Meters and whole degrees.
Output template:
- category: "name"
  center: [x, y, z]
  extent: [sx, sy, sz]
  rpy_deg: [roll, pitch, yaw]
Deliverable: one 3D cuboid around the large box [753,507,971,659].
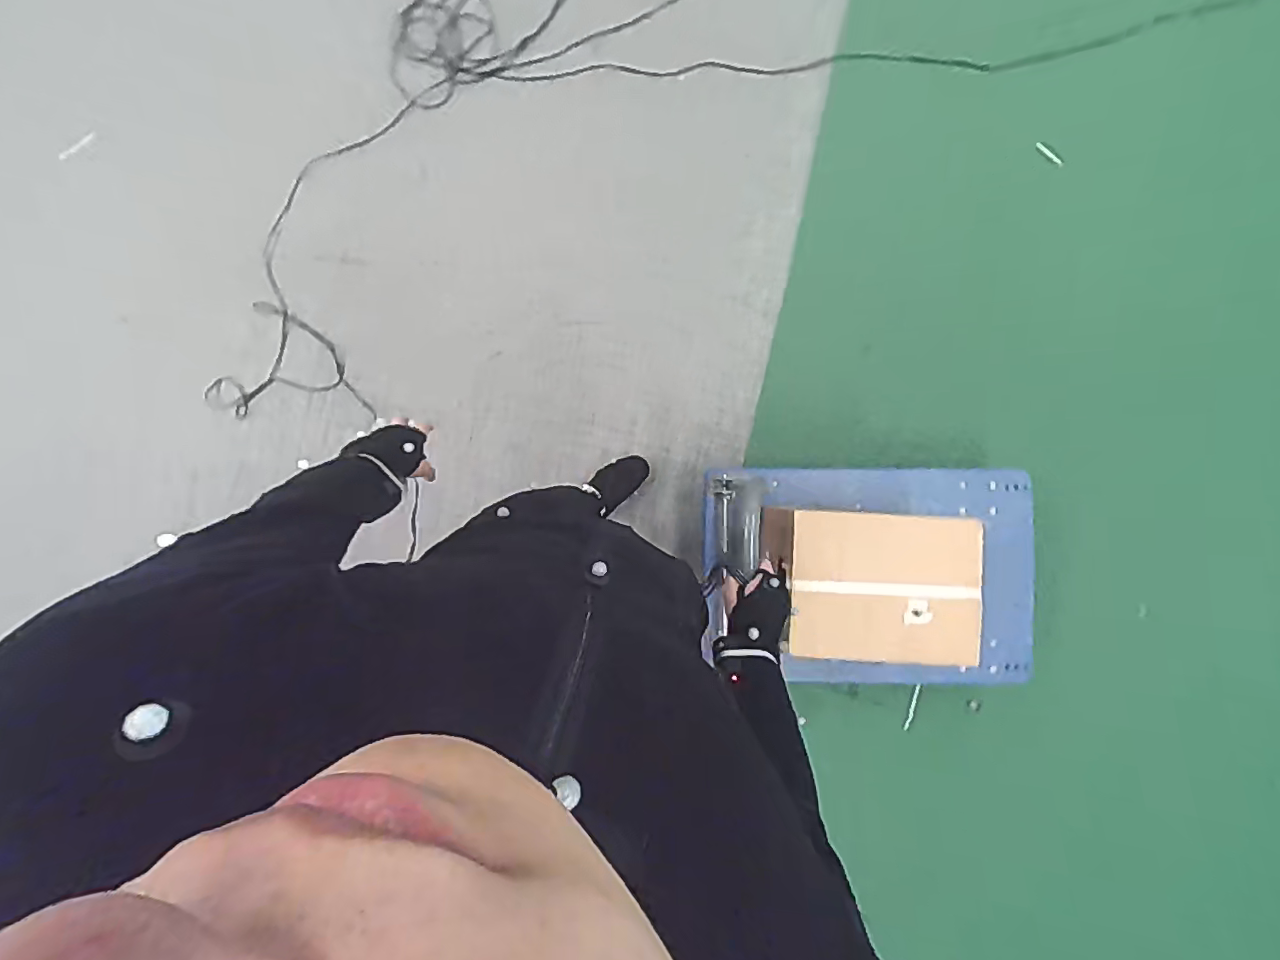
- category: "large box"
  center: [0.505, 0.227, 1.307]
  extent: [0.408, 0.320, 0.320]
  rpy_deg: [4, 90, 0]
